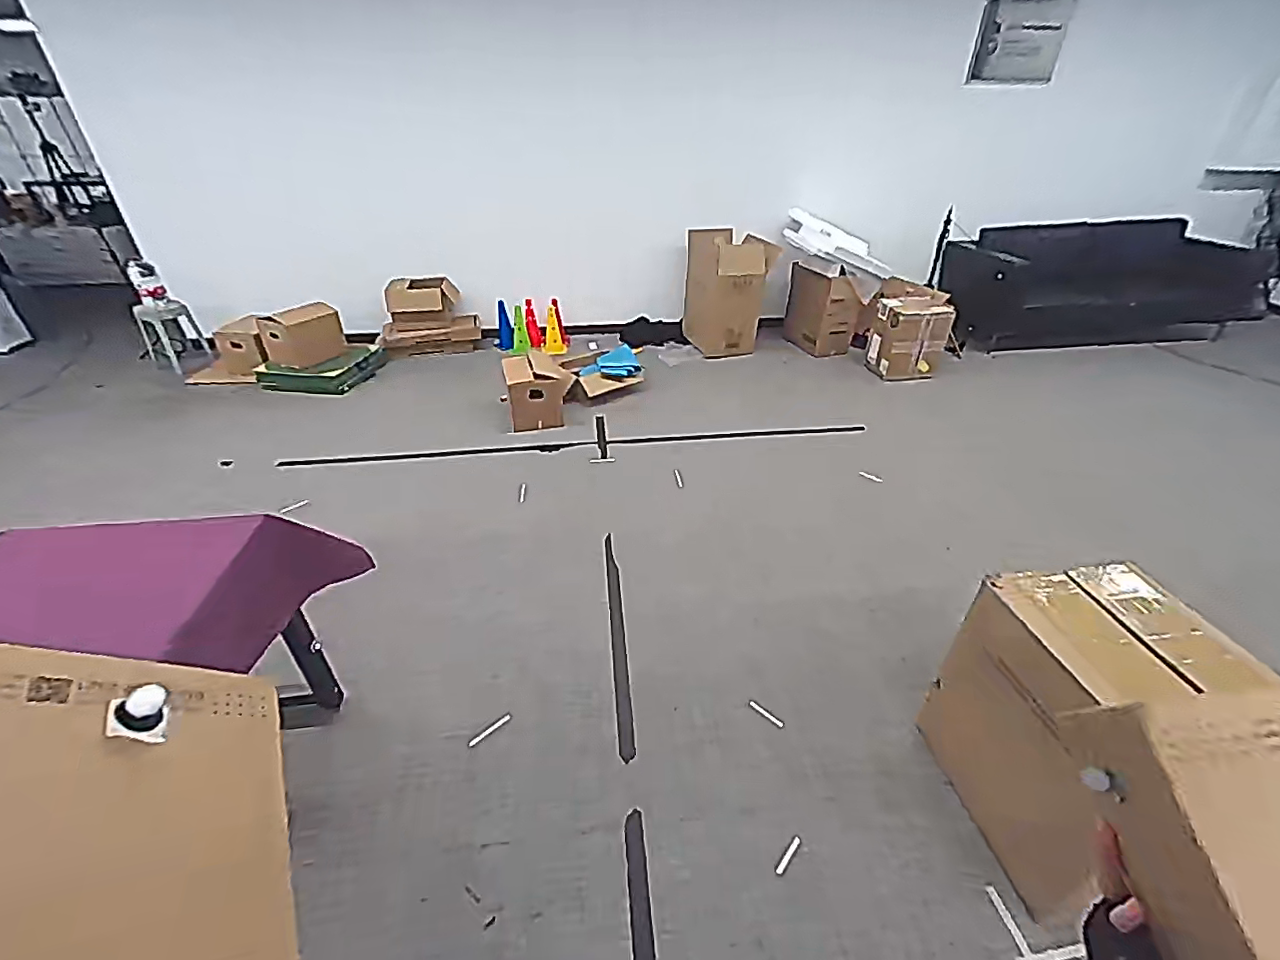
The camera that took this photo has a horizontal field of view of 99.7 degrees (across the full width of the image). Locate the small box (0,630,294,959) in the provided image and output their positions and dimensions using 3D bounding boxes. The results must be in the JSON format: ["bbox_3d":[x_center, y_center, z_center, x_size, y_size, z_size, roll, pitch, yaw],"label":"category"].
[{"bbox_3d":[-0.294,0.198,0.247,0.179,0.168,0.176,-49,49,6],"label":"small box"}]

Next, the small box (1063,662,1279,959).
[{"bbox_3d":[0.364,0.187,0.283,0.168,0.179,0.176,-18,61,18],"label":"small box"}]
